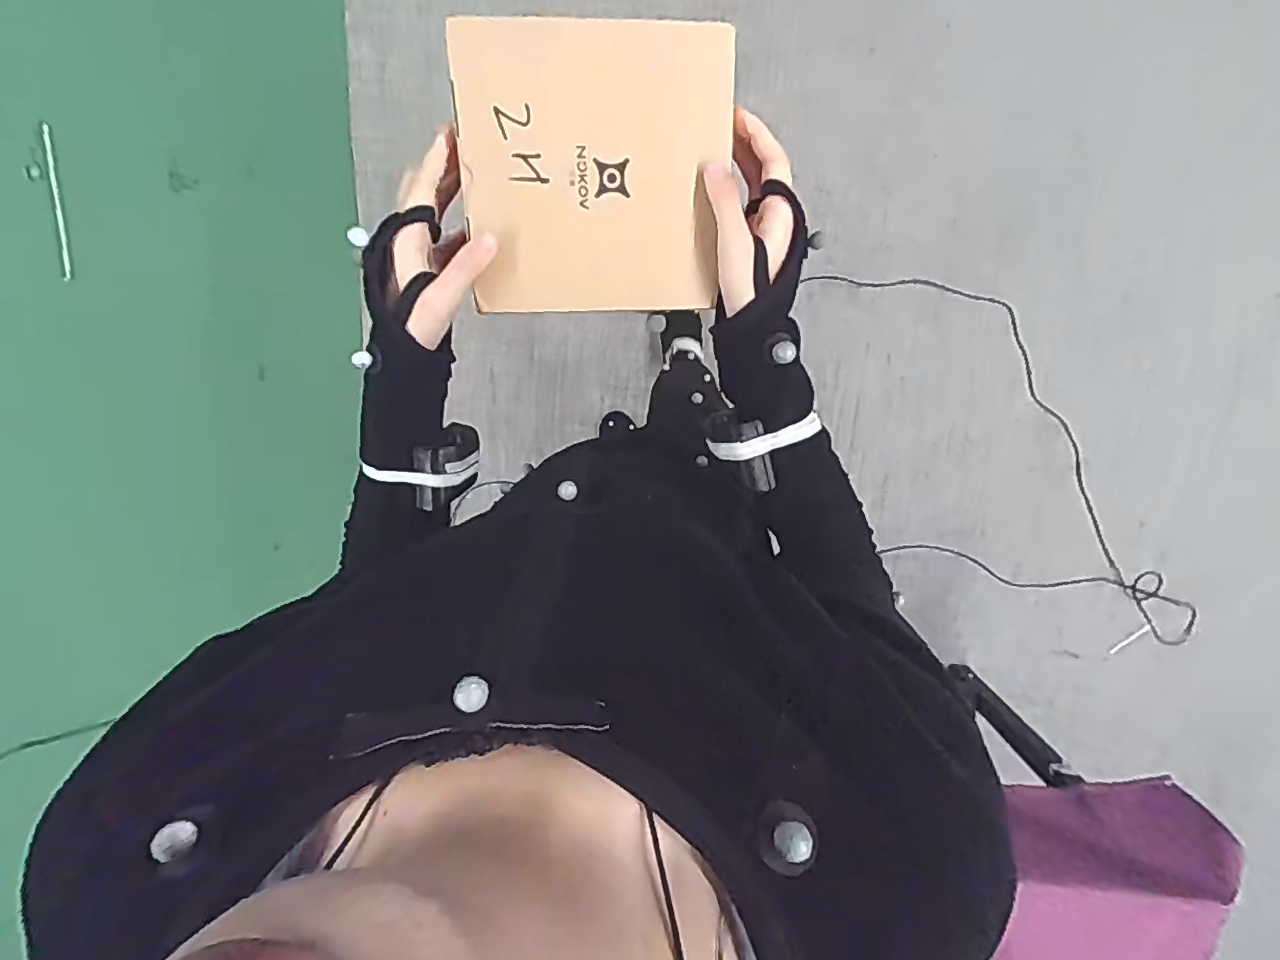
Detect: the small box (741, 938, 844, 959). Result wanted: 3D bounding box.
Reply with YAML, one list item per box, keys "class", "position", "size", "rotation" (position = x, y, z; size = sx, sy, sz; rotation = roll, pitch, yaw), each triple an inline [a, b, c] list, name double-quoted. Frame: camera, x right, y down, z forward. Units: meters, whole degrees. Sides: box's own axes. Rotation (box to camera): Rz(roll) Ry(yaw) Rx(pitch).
- class: "small box"
  position: [0.247, 0.880, 0.858]
  size: [0.179, 0.176, 0.168]
  rotation: [7, 103, 0]
